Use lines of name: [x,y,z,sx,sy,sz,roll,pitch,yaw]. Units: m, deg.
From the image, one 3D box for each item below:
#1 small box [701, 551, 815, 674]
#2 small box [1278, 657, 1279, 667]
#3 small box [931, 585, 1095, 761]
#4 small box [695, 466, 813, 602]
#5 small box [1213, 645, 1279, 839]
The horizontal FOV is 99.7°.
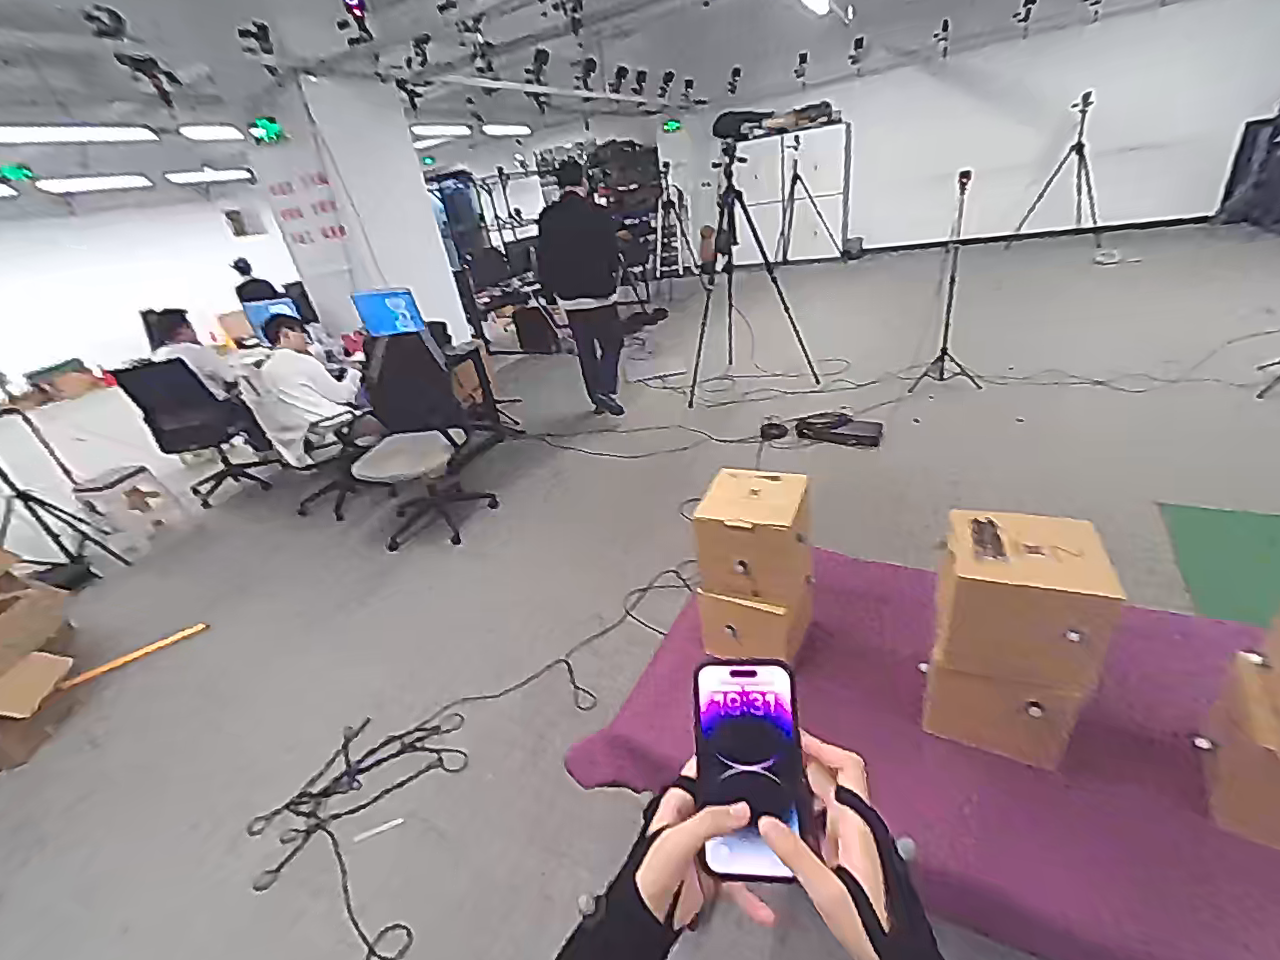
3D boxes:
small box: [0.236,0.240,1.042,0.168,0.176,0.179,8,33,31]
small box: [0.817,0.205,0.554,0.179,0.176,0.168,12,35,35]
small box: [0.560,0.293,0.828,0.179,0.176,0.168,7,33,31]
small box: [0.213,0.093,0.971,0.168,0.176,0.179,5,33,26]
small box: [0.844,0.339,0.646,0.179,0.176,0.168,11,35,36]
